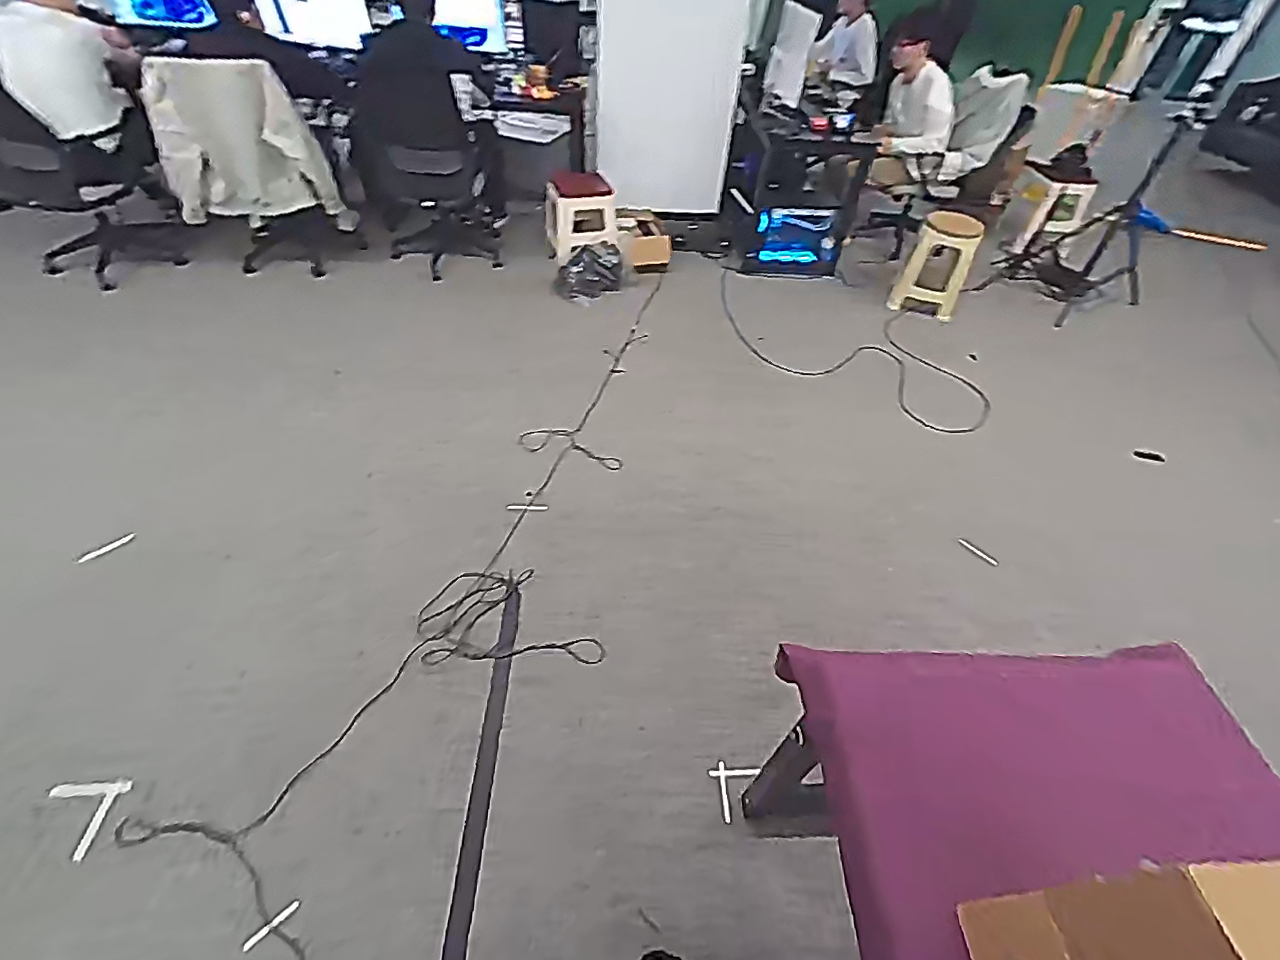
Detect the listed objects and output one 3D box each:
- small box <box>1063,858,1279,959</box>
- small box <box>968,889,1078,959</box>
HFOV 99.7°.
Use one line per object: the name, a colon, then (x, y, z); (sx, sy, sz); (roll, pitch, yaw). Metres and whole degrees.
small box: (0.474, 0.399, 0.408); (0.179, 0.176, 0.168); (2, 47, -4)
small box: (0.458, 0.513, 0.526); (0.179, 0.176, 0.168); (3, 47, -4)
